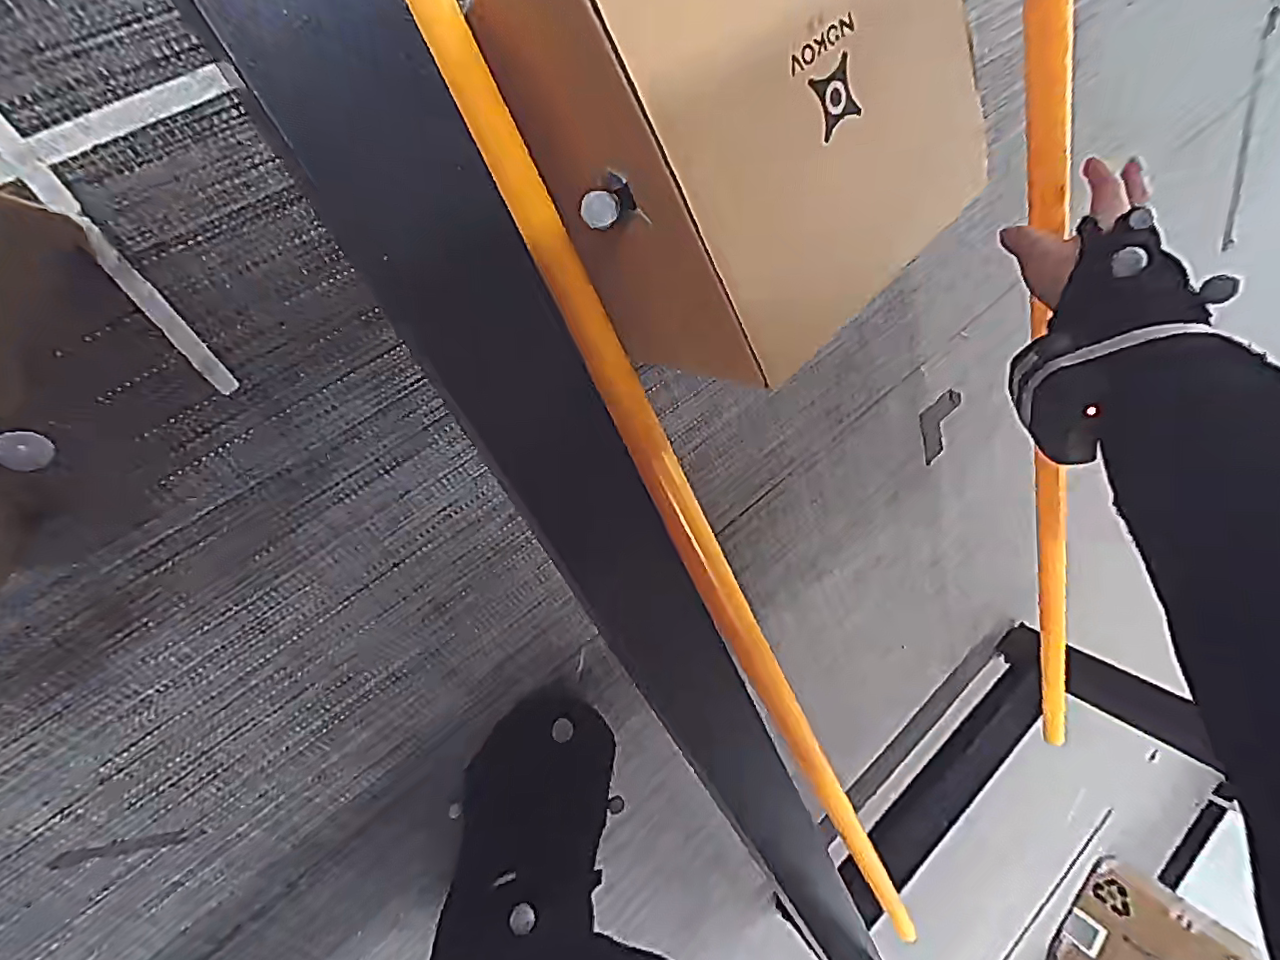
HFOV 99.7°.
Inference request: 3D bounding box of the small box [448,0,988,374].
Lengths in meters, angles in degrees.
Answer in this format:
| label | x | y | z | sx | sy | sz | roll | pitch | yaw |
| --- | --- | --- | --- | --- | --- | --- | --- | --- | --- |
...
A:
| label | x | y | z | sx | sy | sz | roll | pitch | yaw |
| --- | --- | --- | --- | --- | --- | --- | --- | --- | --- |
| small box | 0.034 | -0.181 | 0.274 | 0.168 | 0.176 | 0.179 | -43 | 123 | -12 |
